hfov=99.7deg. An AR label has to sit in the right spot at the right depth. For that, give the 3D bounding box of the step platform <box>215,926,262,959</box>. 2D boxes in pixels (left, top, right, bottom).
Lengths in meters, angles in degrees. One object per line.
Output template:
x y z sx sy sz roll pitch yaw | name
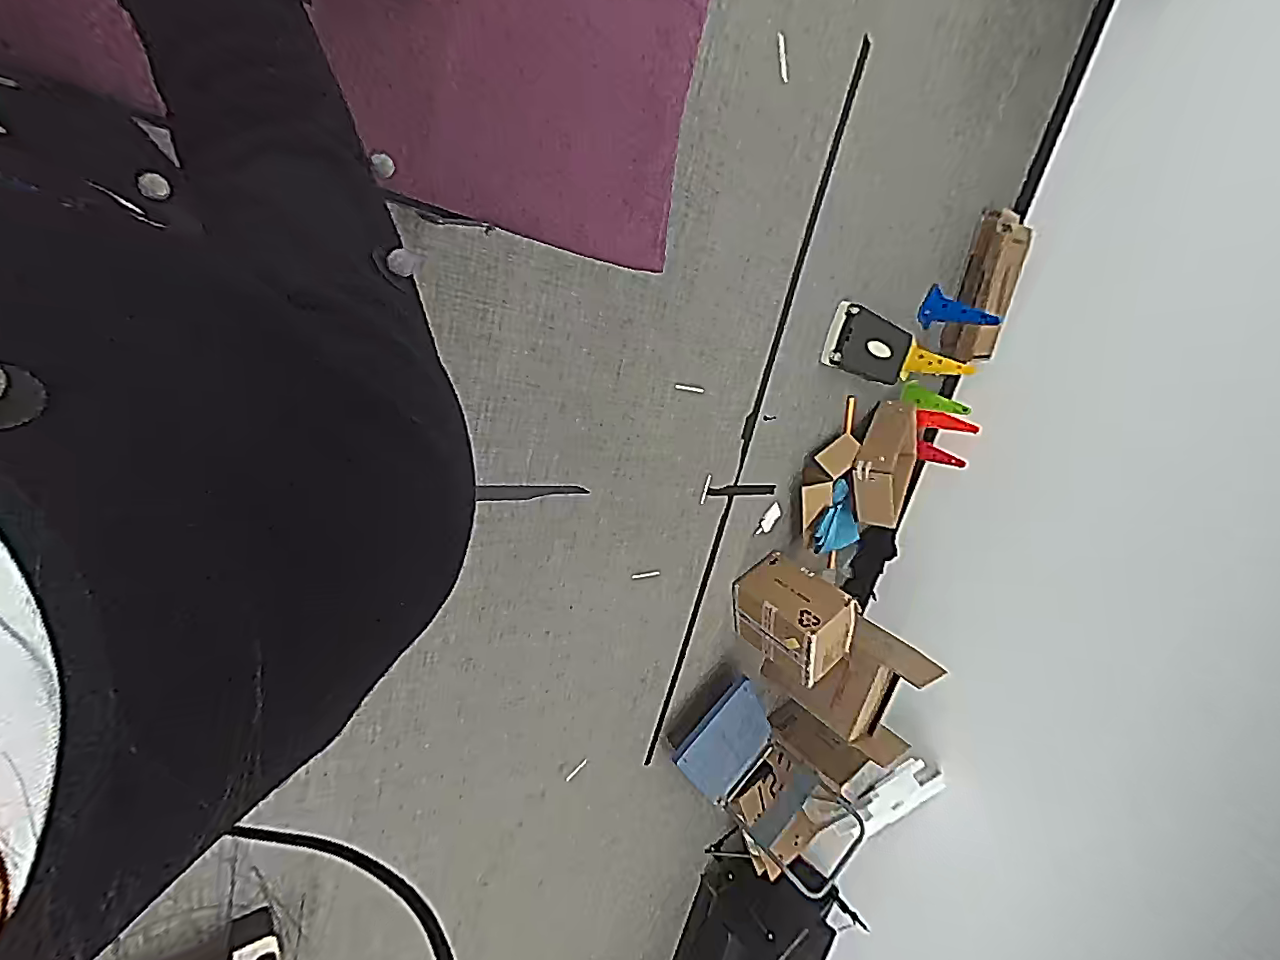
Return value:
-1.391 1.512 1.401 0.684 0.204 0.286 -1 113 -44 | step platform
